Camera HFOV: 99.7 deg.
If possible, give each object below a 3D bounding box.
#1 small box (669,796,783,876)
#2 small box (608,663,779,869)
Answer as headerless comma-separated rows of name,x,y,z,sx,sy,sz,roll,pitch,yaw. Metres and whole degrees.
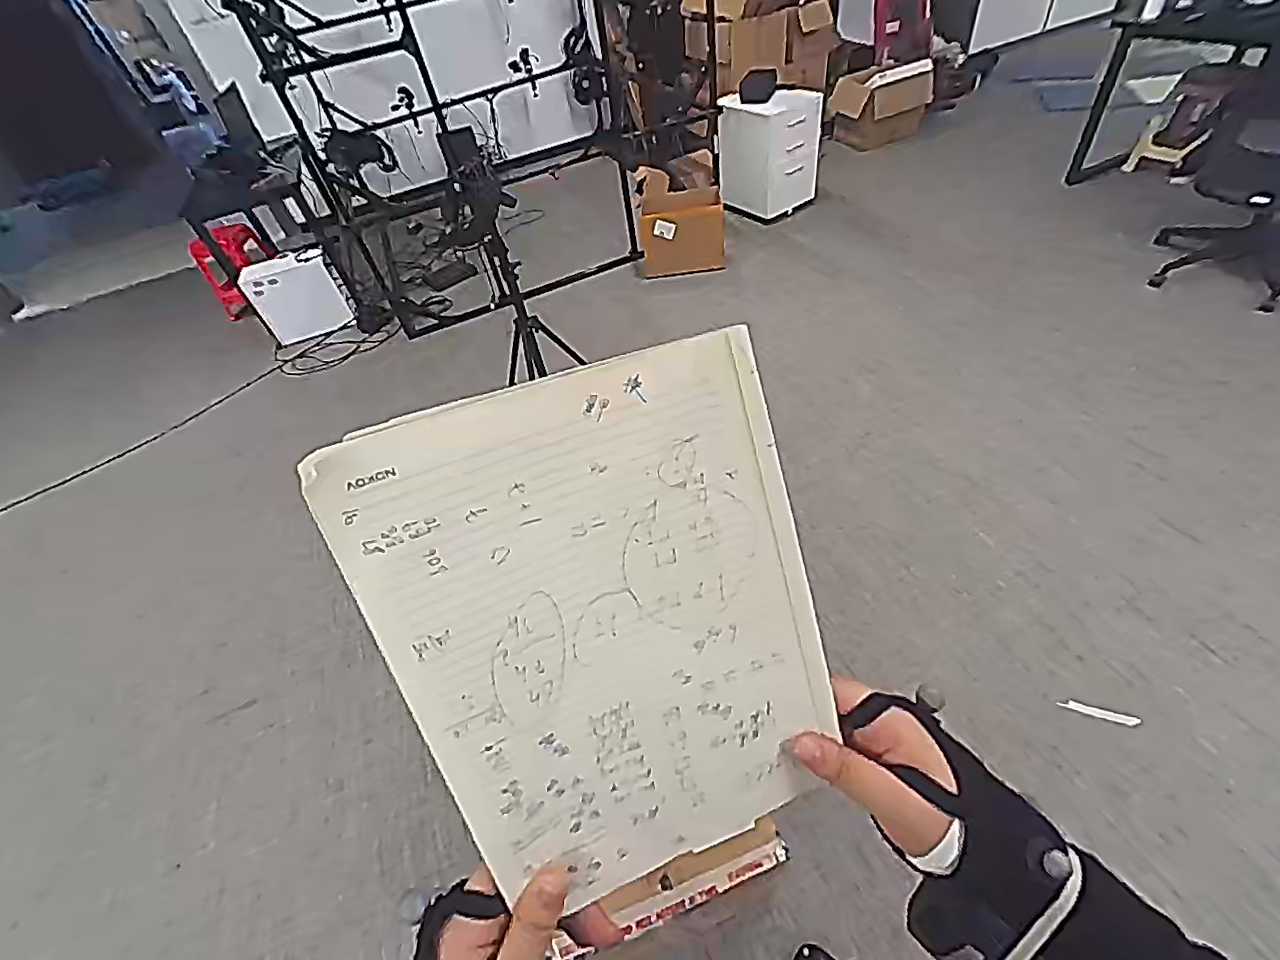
small box,0.098,0.481,0.841,0.179,0.176,0.168,-20,48,-9
small box,0.064,0.378,0.715,0.168,0.176,0.179,-16,49,-7
